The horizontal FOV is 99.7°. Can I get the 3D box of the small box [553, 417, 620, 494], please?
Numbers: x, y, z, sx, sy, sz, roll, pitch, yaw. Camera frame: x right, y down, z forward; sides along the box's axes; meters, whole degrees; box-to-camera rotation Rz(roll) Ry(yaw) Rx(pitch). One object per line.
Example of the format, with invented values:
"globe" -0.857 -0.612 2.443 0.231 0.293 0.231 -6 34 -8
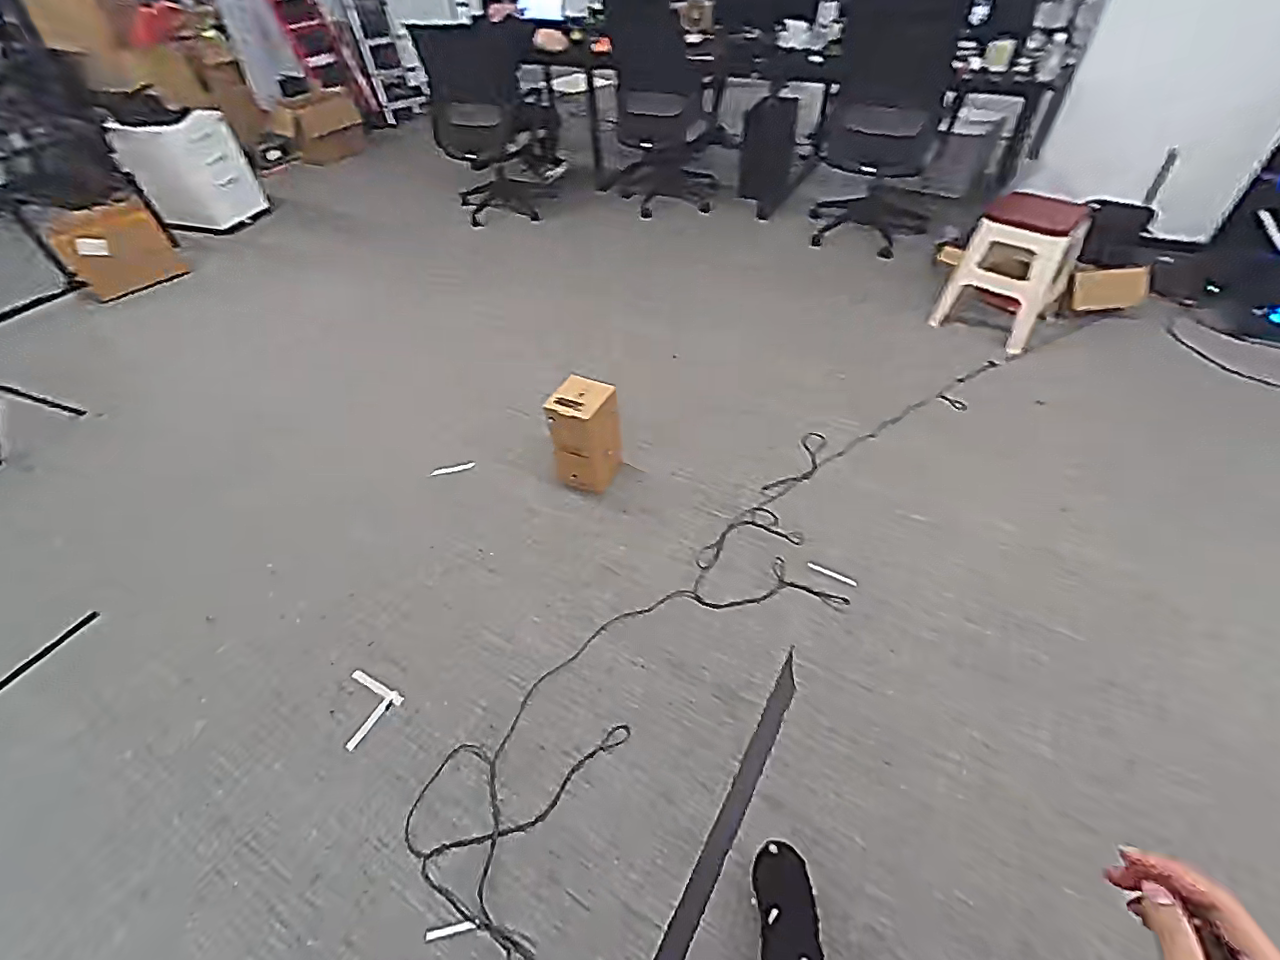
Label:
"small box" -0.174 -0.084 1.845 0.168 0.176 0.179 16 51 18
